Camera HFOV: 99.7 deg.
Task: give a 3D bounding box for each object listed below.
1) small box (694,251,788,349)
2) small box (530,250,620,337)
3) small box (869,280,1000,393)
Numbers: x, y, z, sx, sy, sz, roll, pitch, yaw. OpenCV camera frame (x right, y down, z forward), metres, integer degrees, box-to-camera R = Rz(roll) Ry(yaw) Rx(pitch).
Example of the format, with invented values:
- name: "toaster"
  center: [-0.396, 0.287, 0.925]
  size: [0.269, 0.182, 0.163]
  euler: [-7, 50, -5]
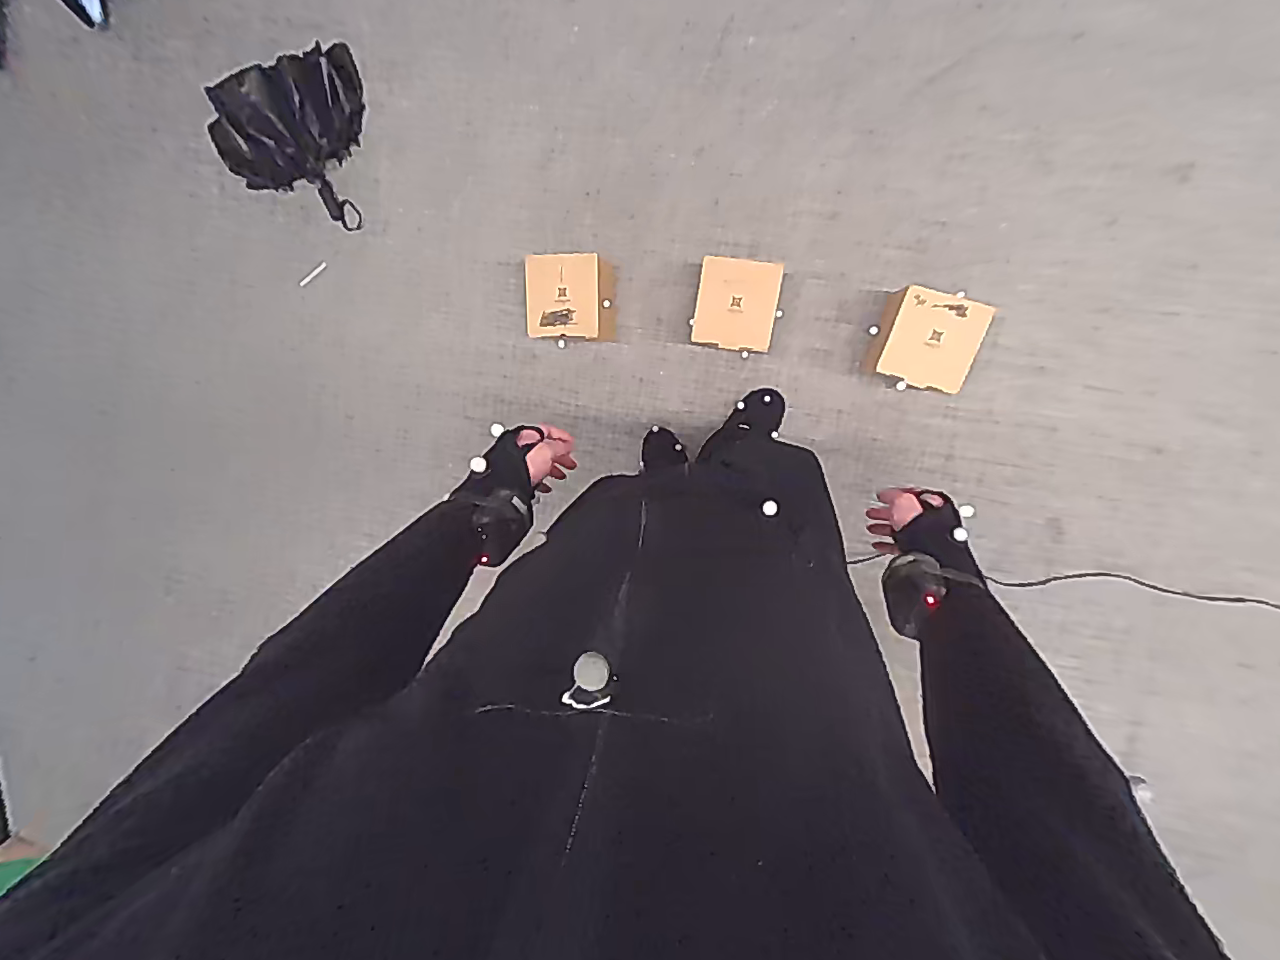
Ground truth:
- name: "small box"
  center: [0.220, -0.385, 1.183]
  size: [0.168, 0.176, 0.179]
  euler: [10, 103, 8]
- name: "small box"
  center: [-0.143, -0.424, 1.249]
  size: [0.168, 0.176, 0.179]
  euler: [3, 102, 11]
- name: "small box"
  center: [0.595, -0.295, 1.123]
  size: [0.168, 0.176, 0.179]
  euler: [20, 107, 8]
